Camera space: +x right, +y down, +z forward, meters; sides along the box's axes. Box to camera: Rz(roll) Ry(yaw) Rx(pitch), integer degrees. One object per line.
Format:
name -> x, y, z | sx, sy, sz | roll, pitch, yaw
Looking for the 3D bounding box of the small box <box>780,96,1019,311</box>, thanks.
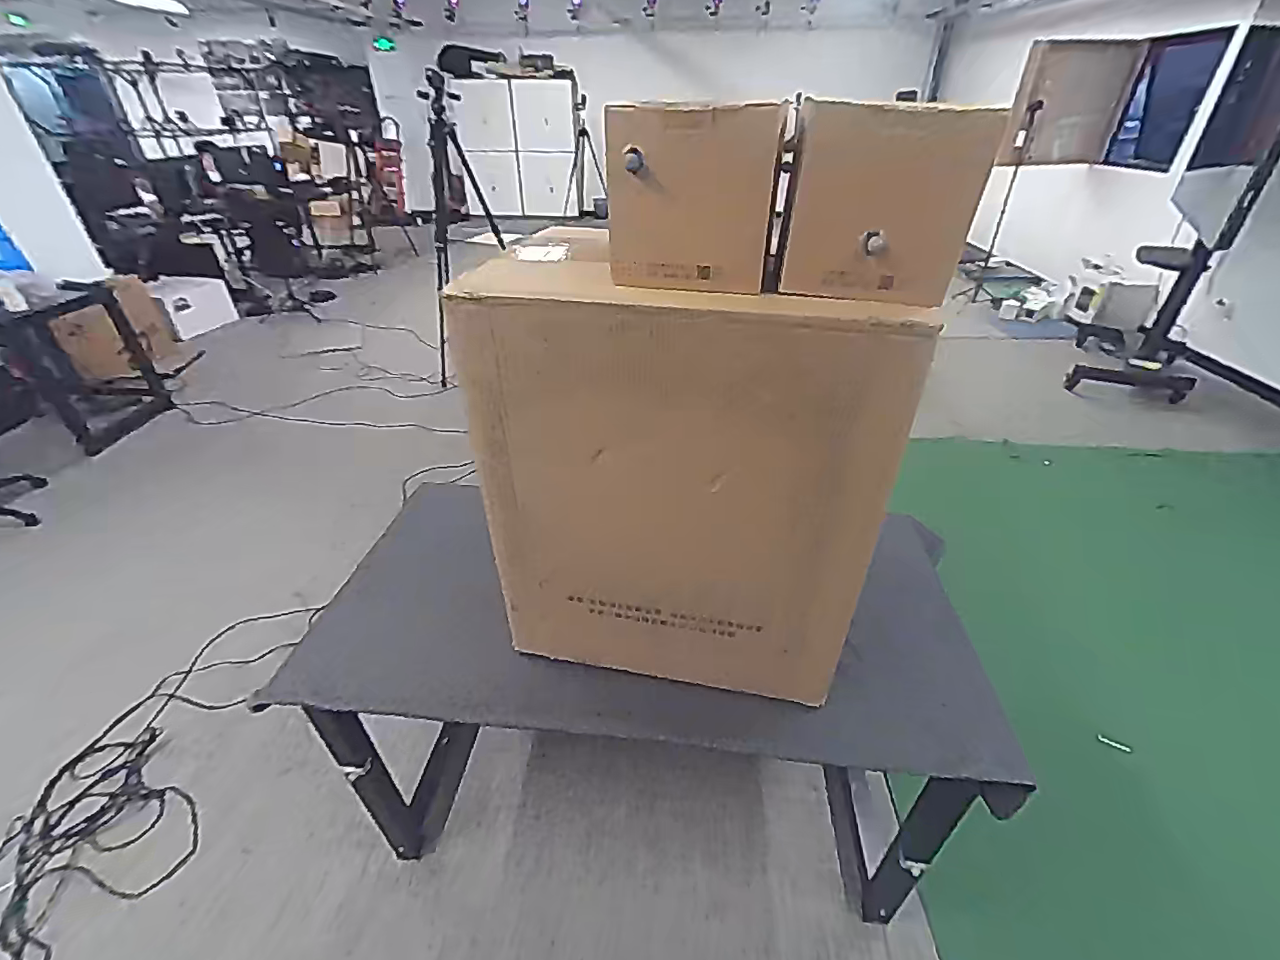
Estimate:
small box -> 0.245, -0.294, 0.568 | 0.168, 0.176, 0.179 | 8, 38, 7
